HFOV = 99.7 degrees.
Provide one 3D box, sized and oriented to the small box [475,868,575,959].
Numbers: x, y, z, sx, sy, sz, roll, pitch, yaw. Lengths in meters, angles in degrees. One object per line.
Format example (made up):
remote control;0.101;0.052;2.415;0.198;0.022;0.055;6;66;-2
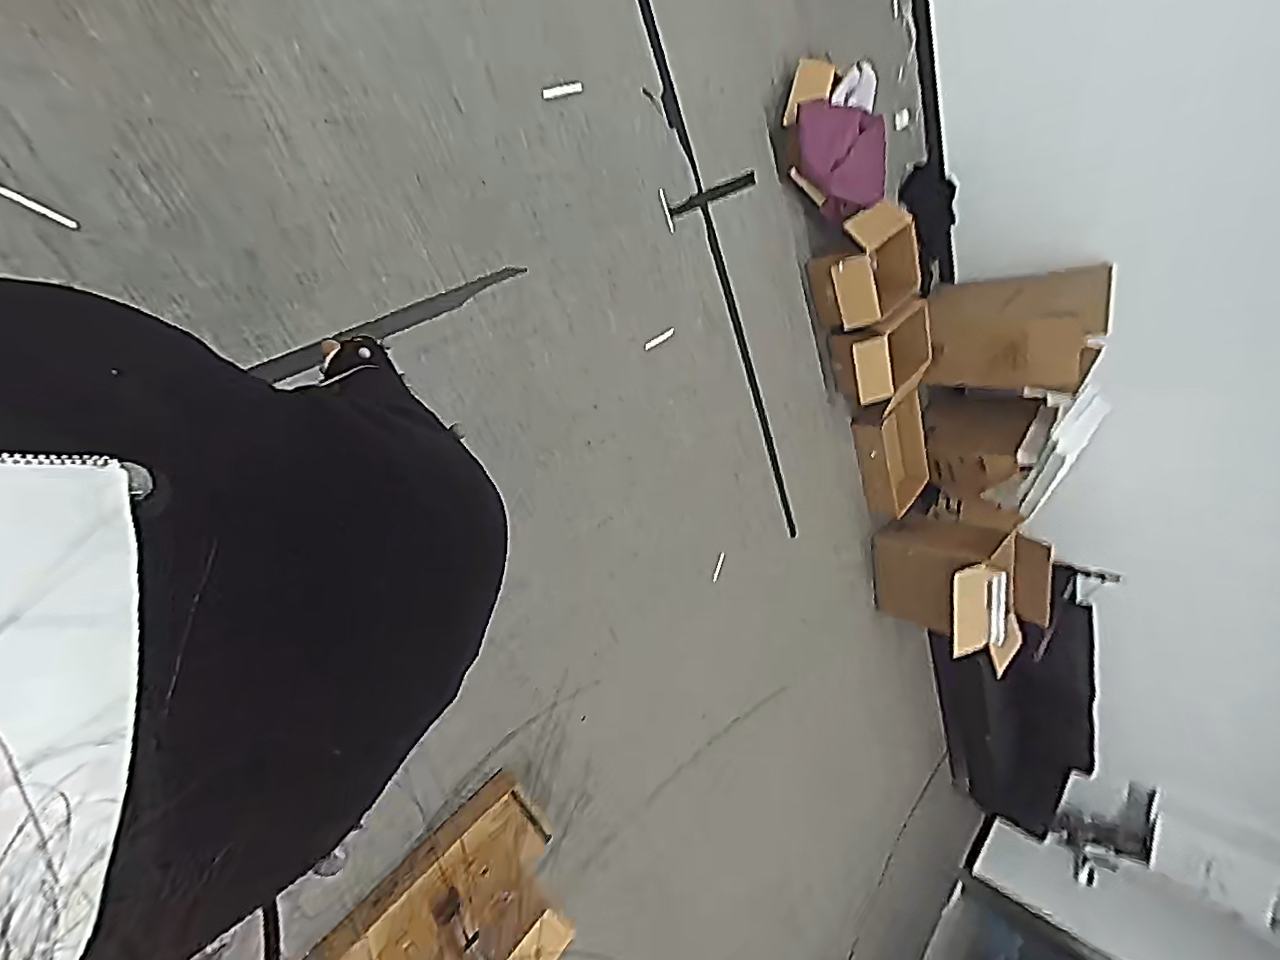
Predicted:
small box;-0.318;1.224;1.487;0.168;0.176;0.179;-43;122;-27

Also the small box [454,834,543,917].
small box;-0.422;1.203;1.612;0.168;0.176;0.179;-40;121;-28

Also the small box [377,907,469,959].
small box;-0.590;1.344;1.495;0.168;0.176;0.179;-39;121;-29
